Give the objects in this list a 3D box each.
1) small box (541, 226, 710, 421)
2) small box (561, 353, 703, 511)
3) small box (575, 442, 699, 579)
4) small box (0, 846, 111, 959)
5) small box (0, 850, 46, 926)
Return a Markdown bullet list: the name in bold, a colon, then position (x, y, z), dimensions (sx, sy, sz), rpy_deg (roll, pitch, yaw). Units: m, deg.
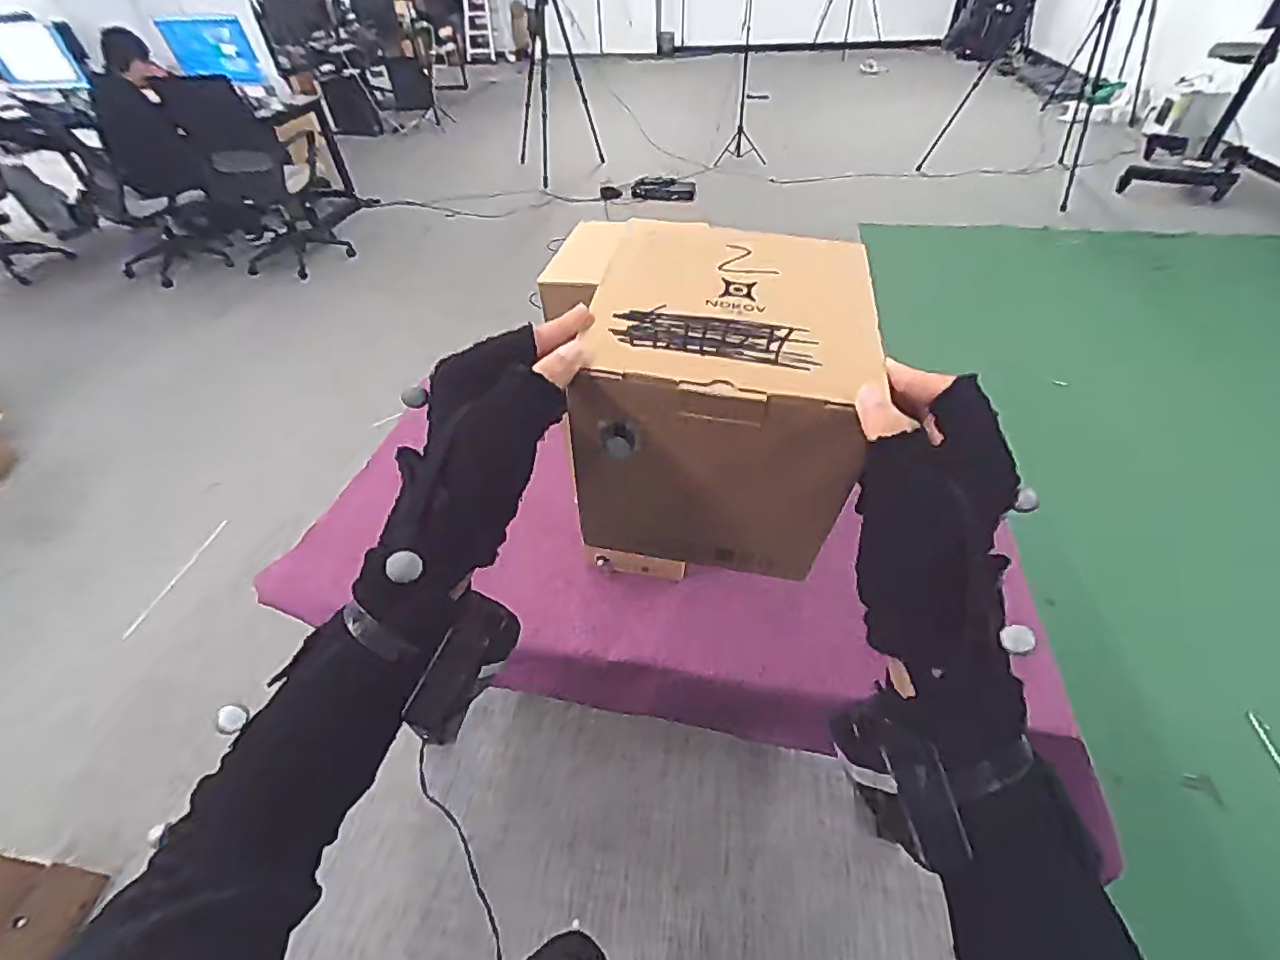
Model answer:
- **small box**: position (-0.008, -0.198, 0.678), dimensions (0.168, 0.176, 0.179), rpy_deg (6, 46, 10)
- **small box**: position (-0.003, -0.080, 0.790), dimensions (0.168, 0.176, 0.179), rpy_deg (7, 46, 10)
- **small box**: position (0.004, 0.042, 0.901), dimensions (0.168, 0.176, 0.179), rpy_deg (7, 46, 10)
- **small box**: position (-1.311, 0.905, 1.146), dimensions (0.179, 0.176, 0.168), rpy_deg (4, 46, 9)
- **small box**: position (-1.322, 0.798, 1.022), dimensions (0.168, 0.176, 0.179), rpy_deg (5, 45, 8)
